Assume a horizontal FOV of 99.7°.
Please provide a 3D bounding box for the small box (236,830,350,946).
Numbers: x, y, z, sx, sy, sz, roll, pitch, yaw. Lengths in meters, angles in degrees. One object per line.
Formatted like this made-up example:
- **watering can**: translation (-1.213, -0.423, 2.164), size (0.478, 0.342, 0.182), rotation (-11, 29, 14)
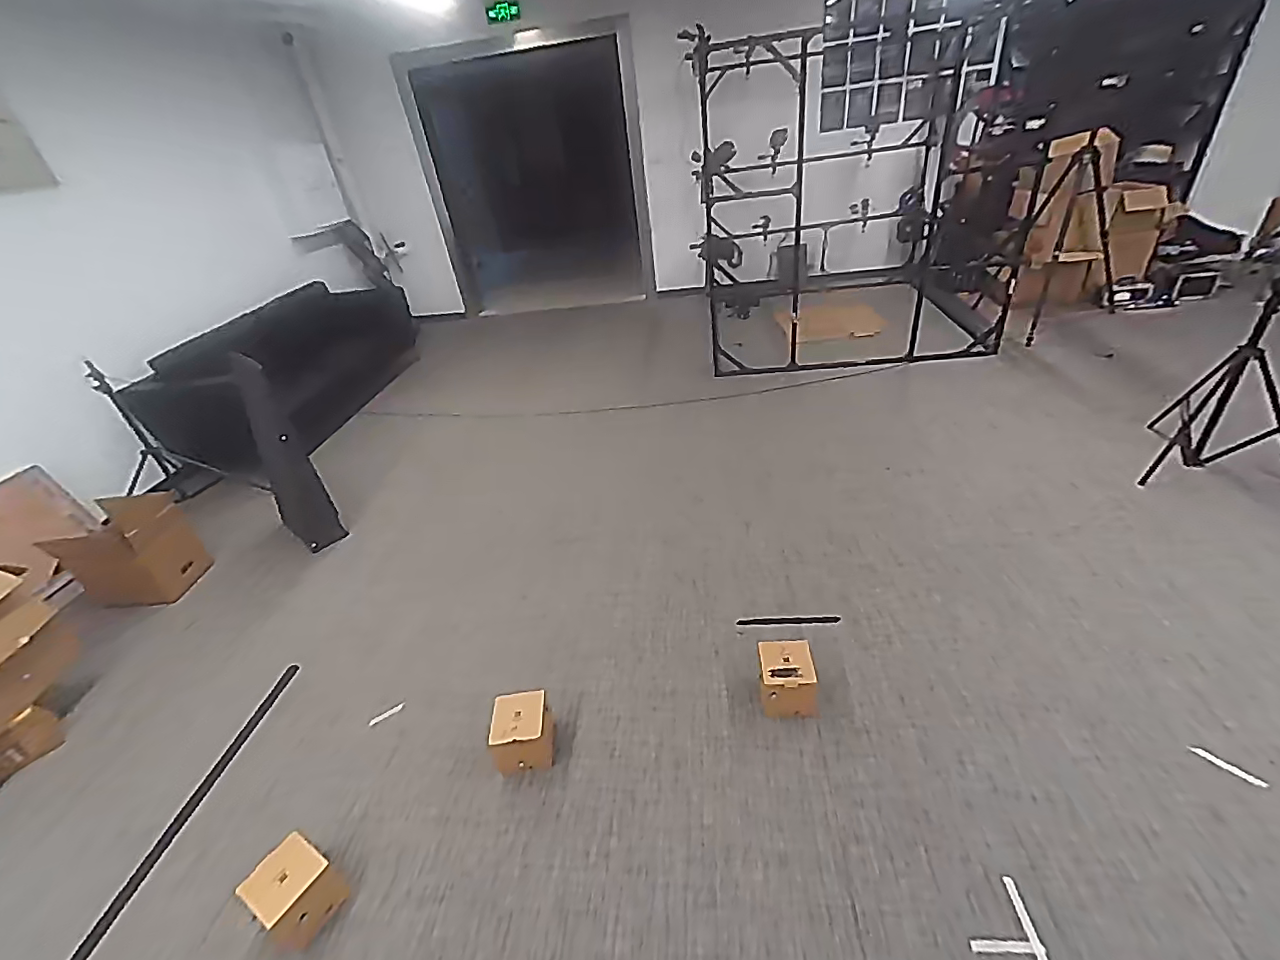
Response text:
- **small box**: translation (-0.922, 1.099, 1.452), size (0.179, 0.176, 0.168), rotation (13, 38, 30)

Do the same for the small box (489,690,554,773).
- **small box**: translation (-0.380, 0.821, 1.763), size (0.168, 0.176, 0.179), rotation (-8, 33, 0)
